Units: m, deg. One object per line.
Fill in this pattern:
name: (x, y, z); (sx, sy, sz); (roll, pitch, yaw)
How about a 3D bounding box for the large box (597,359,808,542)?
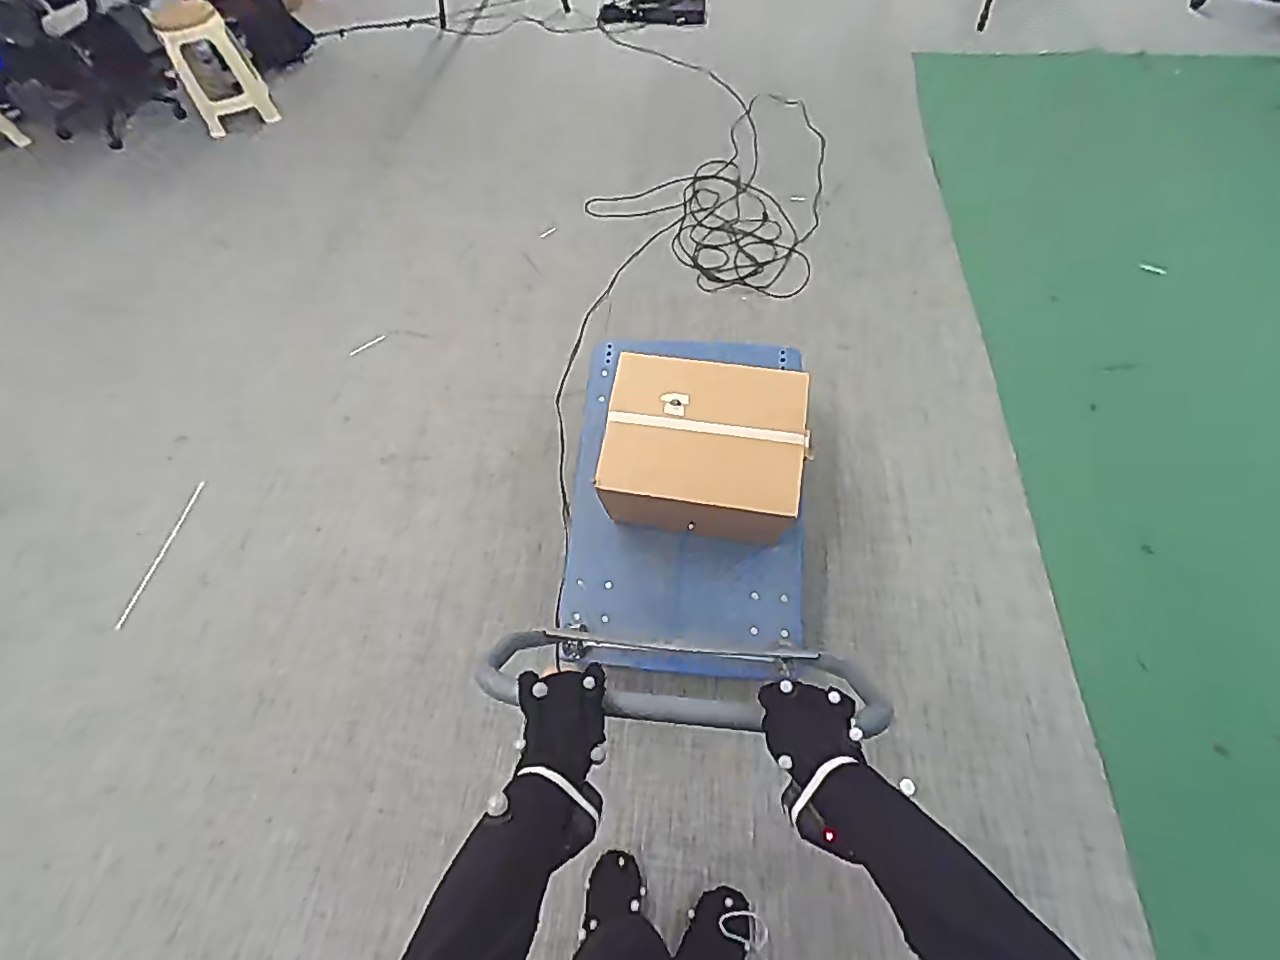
large box: (0.146, -0.053, 1.243); (0.408, 0.320, 0.320); (8, 74, 8)
